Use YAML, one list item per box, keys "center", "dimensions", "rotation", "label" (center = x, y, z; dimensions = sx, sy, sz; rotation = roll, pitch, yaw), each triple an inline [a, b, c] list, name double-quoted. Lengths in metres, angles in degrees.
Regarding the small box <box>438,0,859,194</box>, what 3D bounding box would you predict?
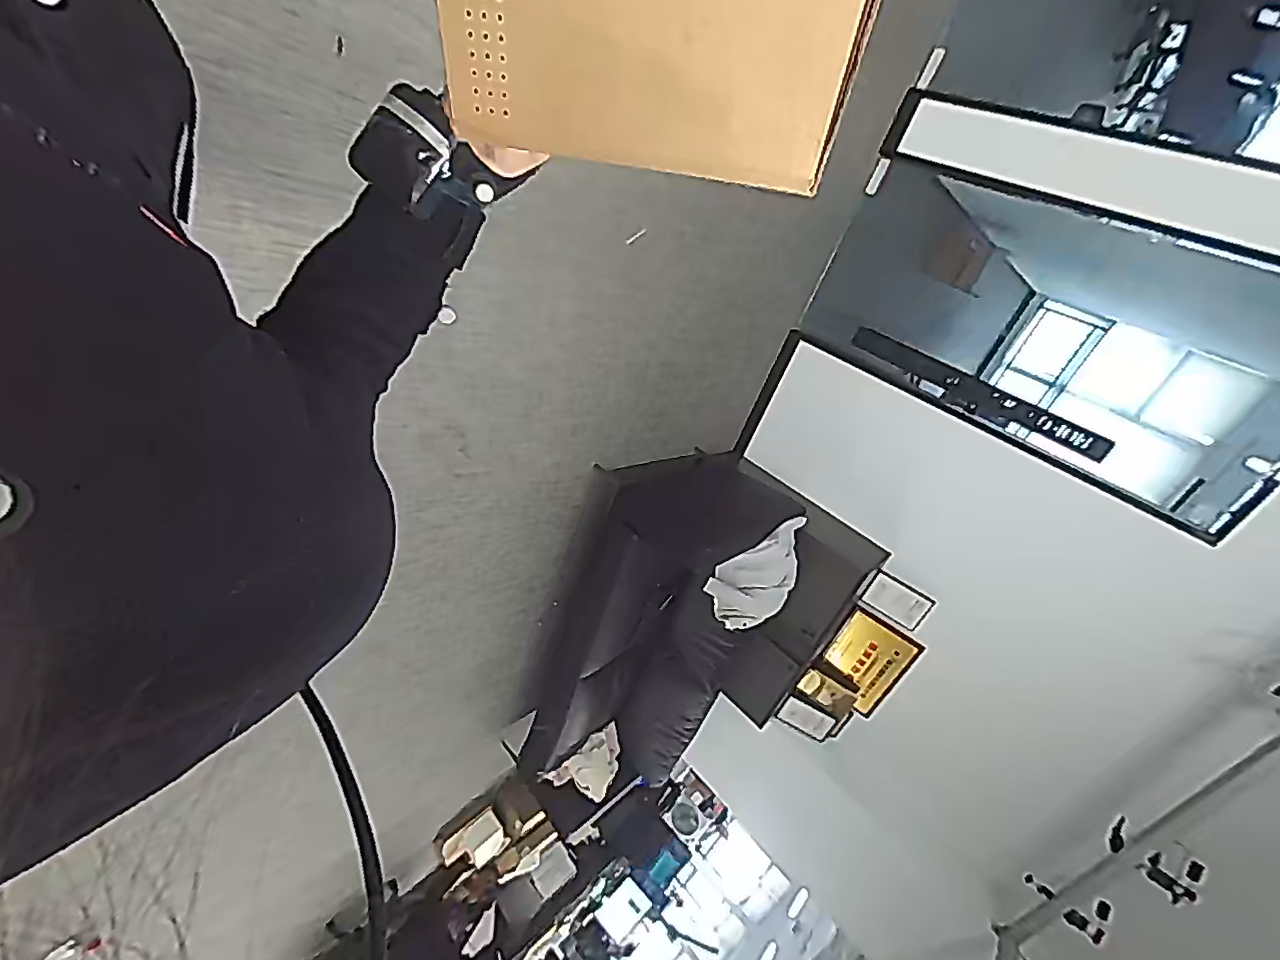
- center: [0.013, -0.258, 0.248]
  dimensions: [0.179, 0.176, 0.168]
  rotation: [96, 7, -46]
  label: "small box"
